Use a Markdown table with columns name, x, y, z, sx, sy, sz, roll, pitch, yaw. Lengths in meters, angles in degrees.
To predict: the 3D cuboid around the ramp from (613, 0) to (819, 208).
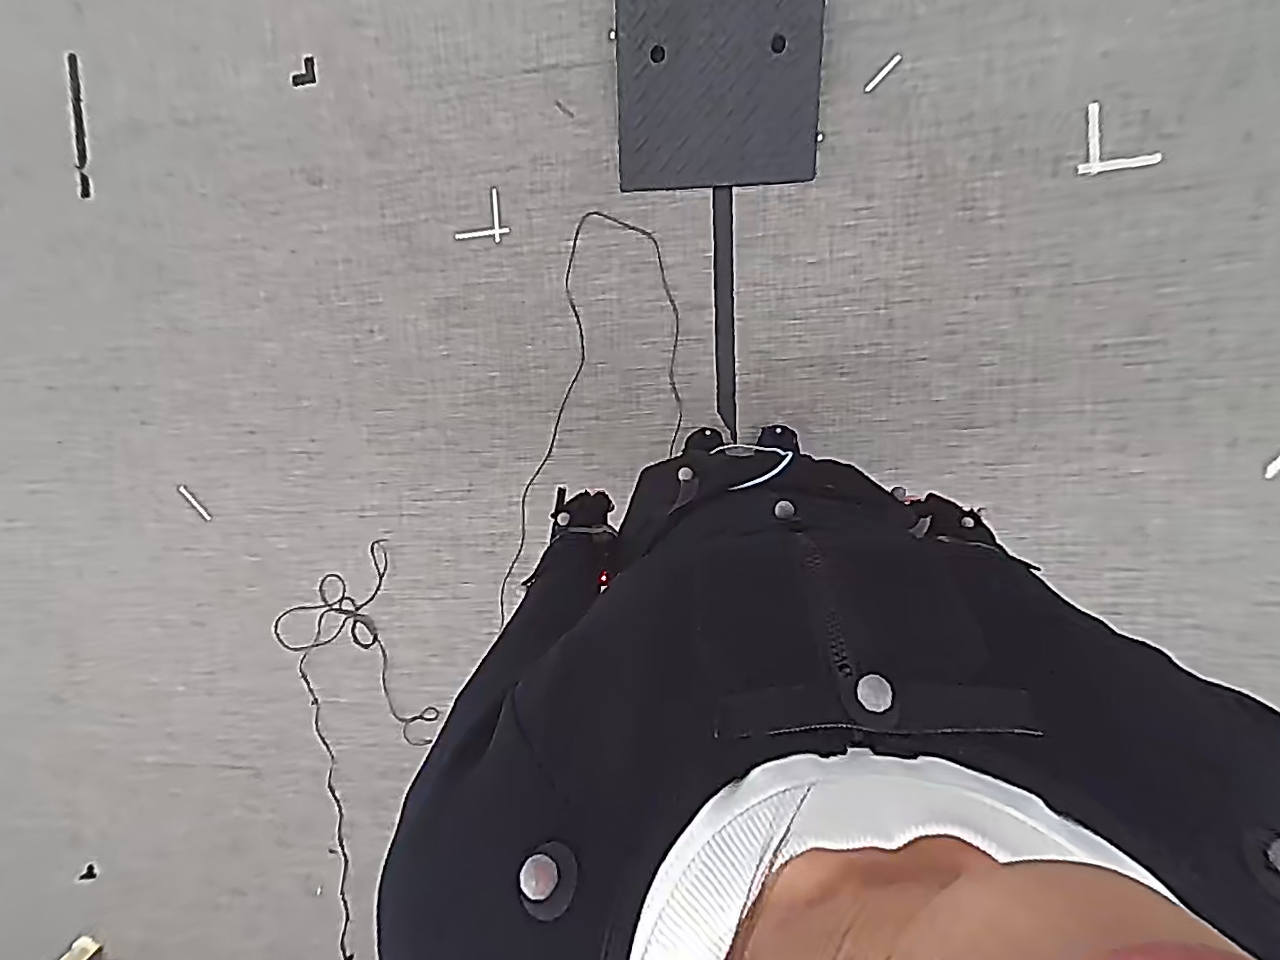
| name | x | y | z | sx | sy | sz | roll | pitch | yaw |
| --- | --- | --- | --- | --- | --- | --- | --- | --- | --- |
| ramp | 0.176 | -1.209 | 1.282 | 0.509 | 0.206 | 0.991 | -3 | 94 | 7 |
